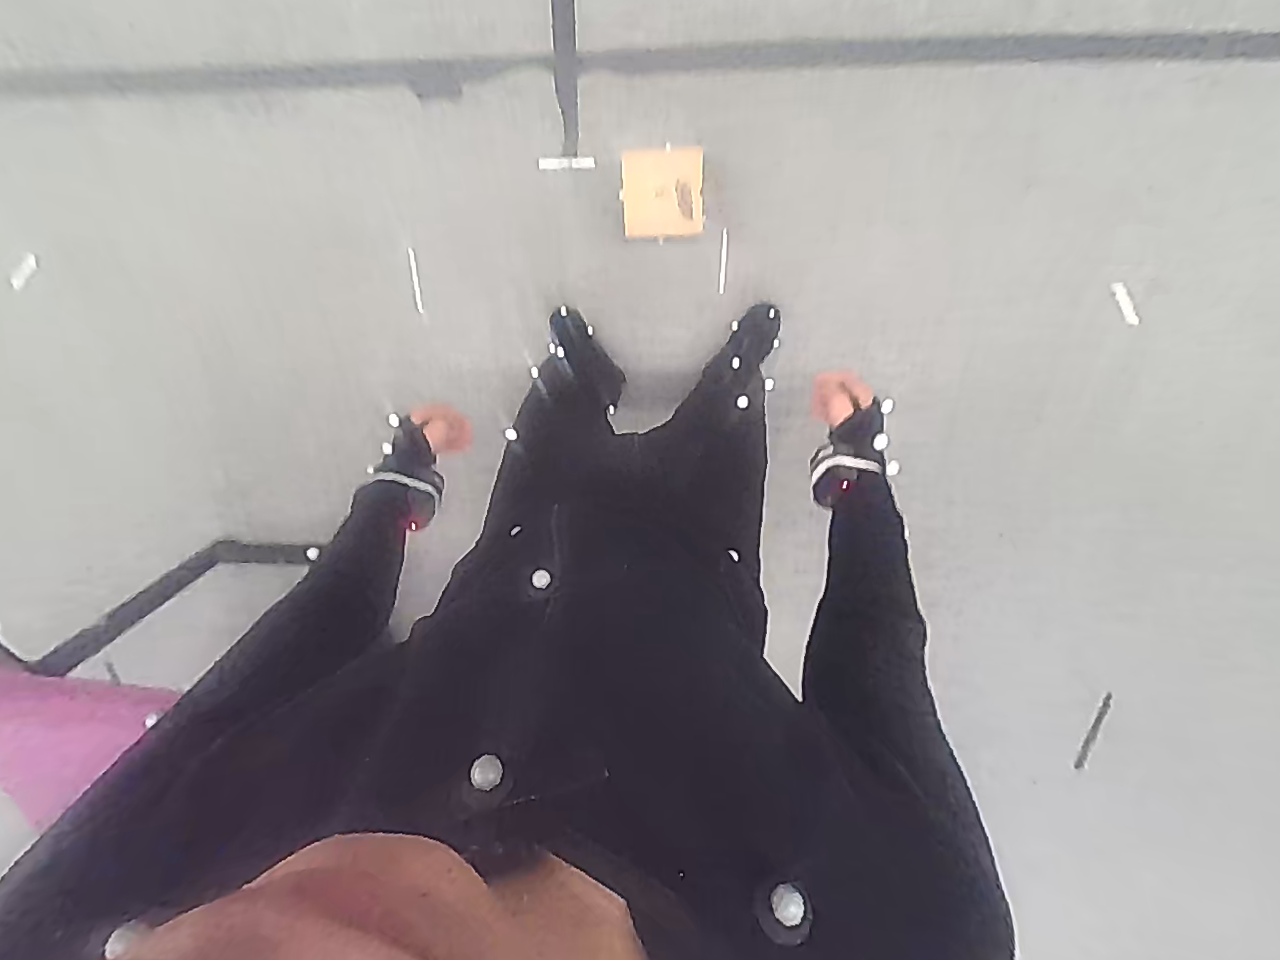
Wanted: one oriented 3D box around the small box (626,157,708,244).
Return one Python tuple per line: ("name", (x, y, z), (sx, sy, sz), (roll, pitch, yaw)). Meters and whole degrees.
("small box", (0.063, -0.639, 1.245), (0.179, 0.176, 0.168), (0, 115, 5))
